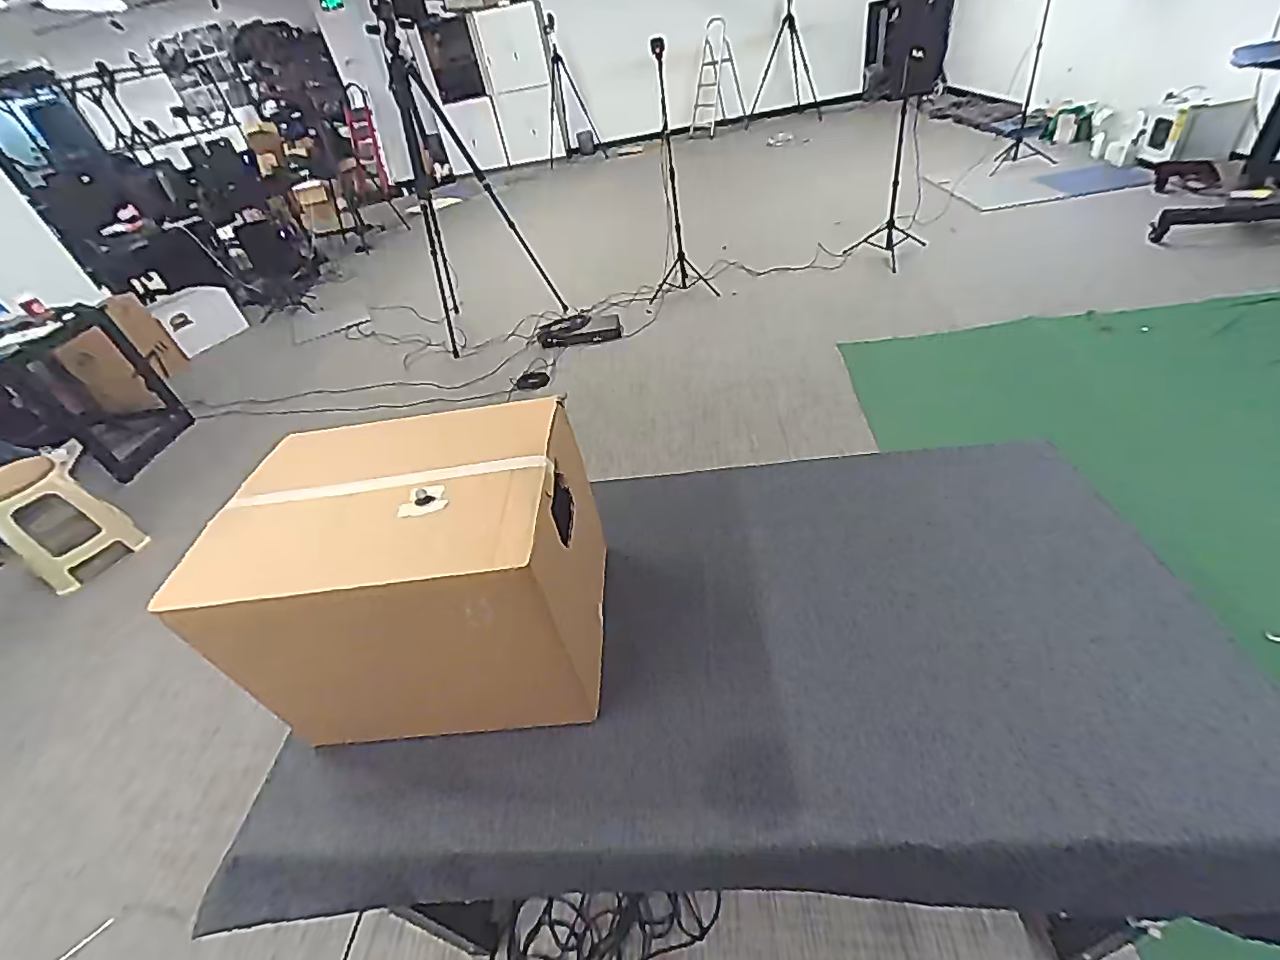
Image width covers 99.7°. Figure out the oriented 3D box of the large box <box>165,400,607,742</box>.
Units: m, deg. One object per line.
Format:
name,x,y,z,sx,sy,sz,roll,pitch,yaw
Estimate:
large box,-0.271,0.123,0.740,0.408,0.320,0.320,-7,40,4
